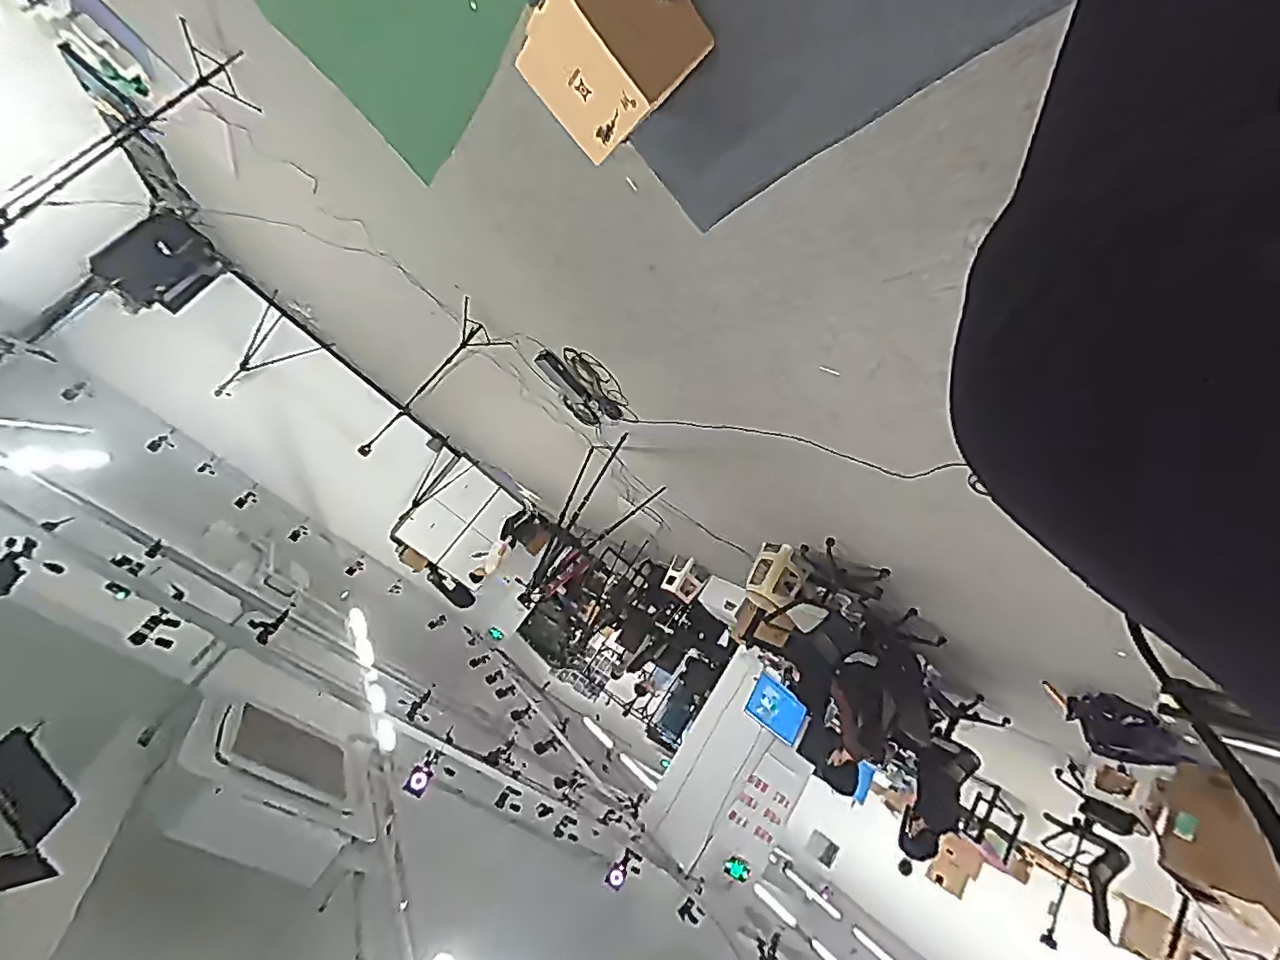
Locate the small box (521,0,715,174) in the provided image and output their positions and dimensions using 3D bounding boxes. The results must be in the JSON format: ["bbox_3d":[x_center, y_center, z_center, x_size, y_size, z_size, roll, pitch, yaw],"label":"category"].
[{"bbox_3d":[-0.030,-0.591,0.768,0.179,0.176,0.168,44,161,-23],"label":"small box"}]
